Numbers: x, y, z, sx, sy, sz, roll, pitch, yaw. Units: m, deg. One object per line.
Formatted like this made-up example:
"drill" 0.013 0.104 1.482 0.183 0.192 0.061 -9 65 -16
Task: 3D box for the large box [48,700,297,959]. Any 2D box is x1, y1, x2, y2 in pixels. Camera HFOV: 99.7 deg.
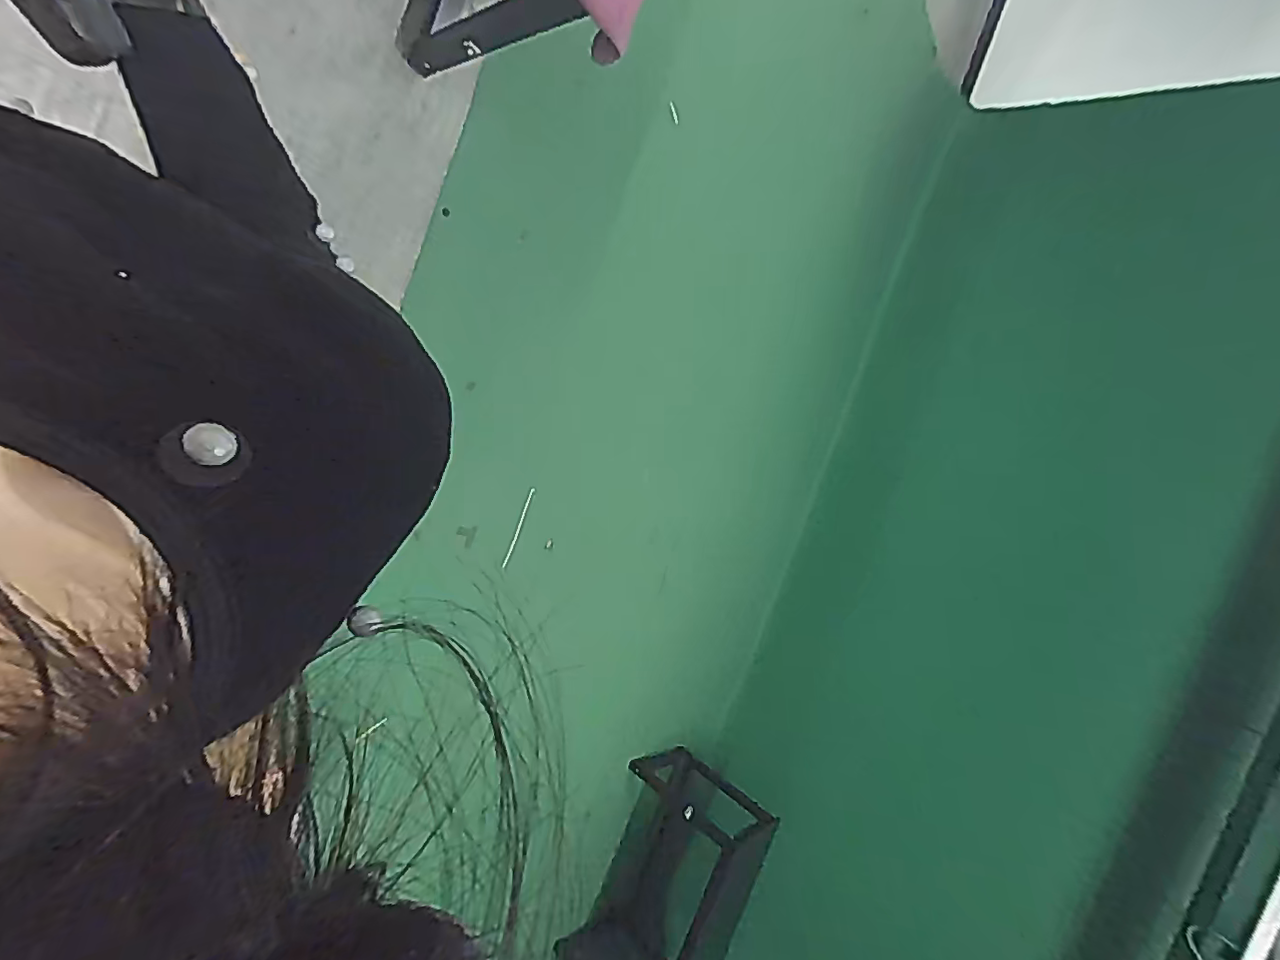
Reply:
"large box" -1.108 0.805 1.299 0.408 0.320 0.320 -5 111 -50
